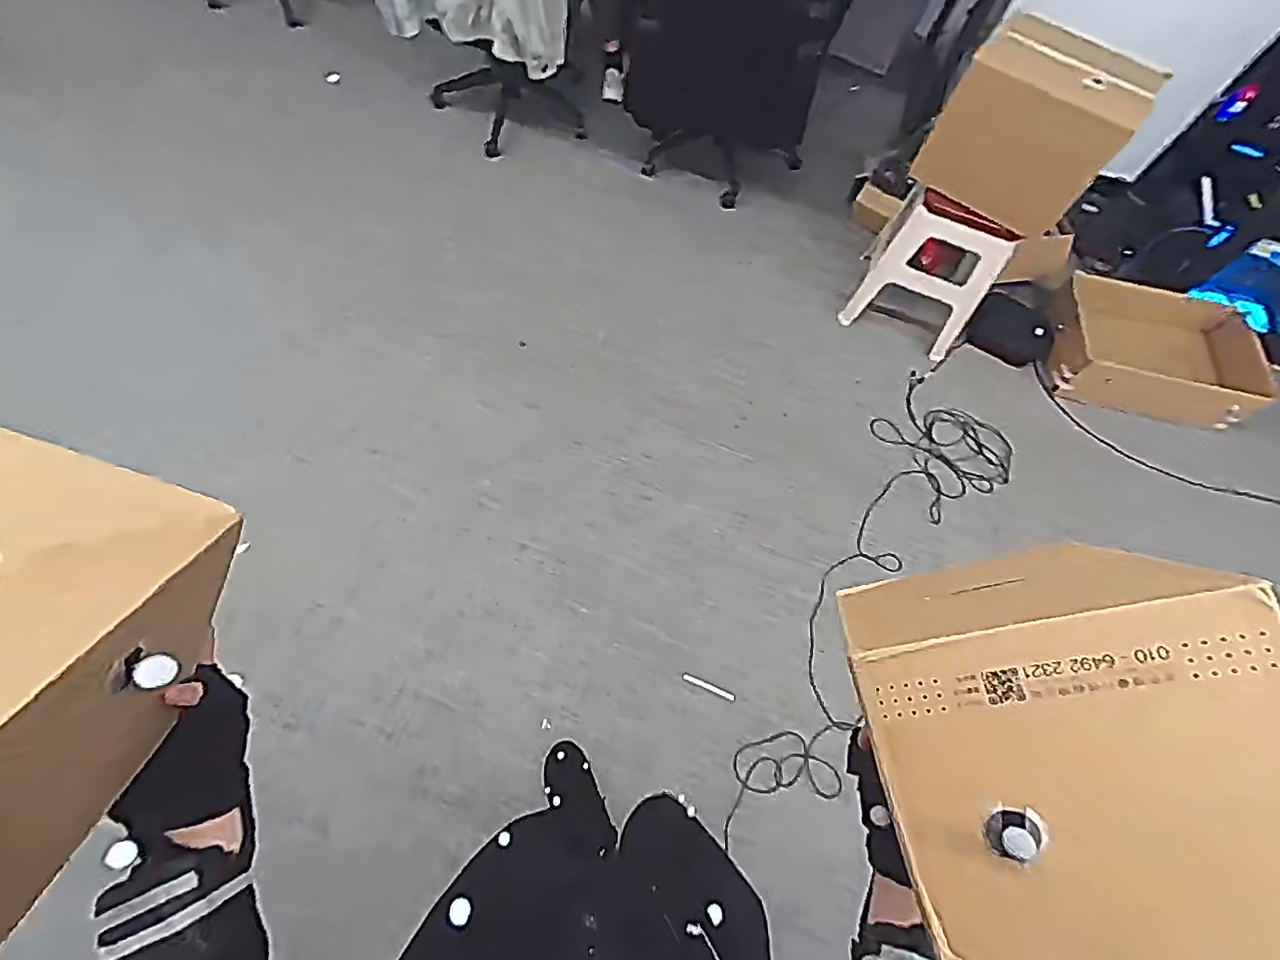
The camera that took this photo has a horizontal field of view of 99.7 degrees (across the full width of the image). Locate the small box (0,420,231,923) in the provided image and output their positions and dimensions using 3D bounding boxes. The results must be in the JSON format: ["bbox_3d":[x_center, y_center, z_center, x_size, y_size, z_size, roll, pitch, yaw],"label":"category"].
[{"bbox_3d":[-0.312,0.078,0.215,0.168,0.179,0.176,24,103,-19],"label":"small box"}]

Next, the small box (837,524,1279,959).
[{"bbox_3d":[0.220,0.127,0.306,0.168,0.179,0.176,-16,85,16],"label":"small box"}]
